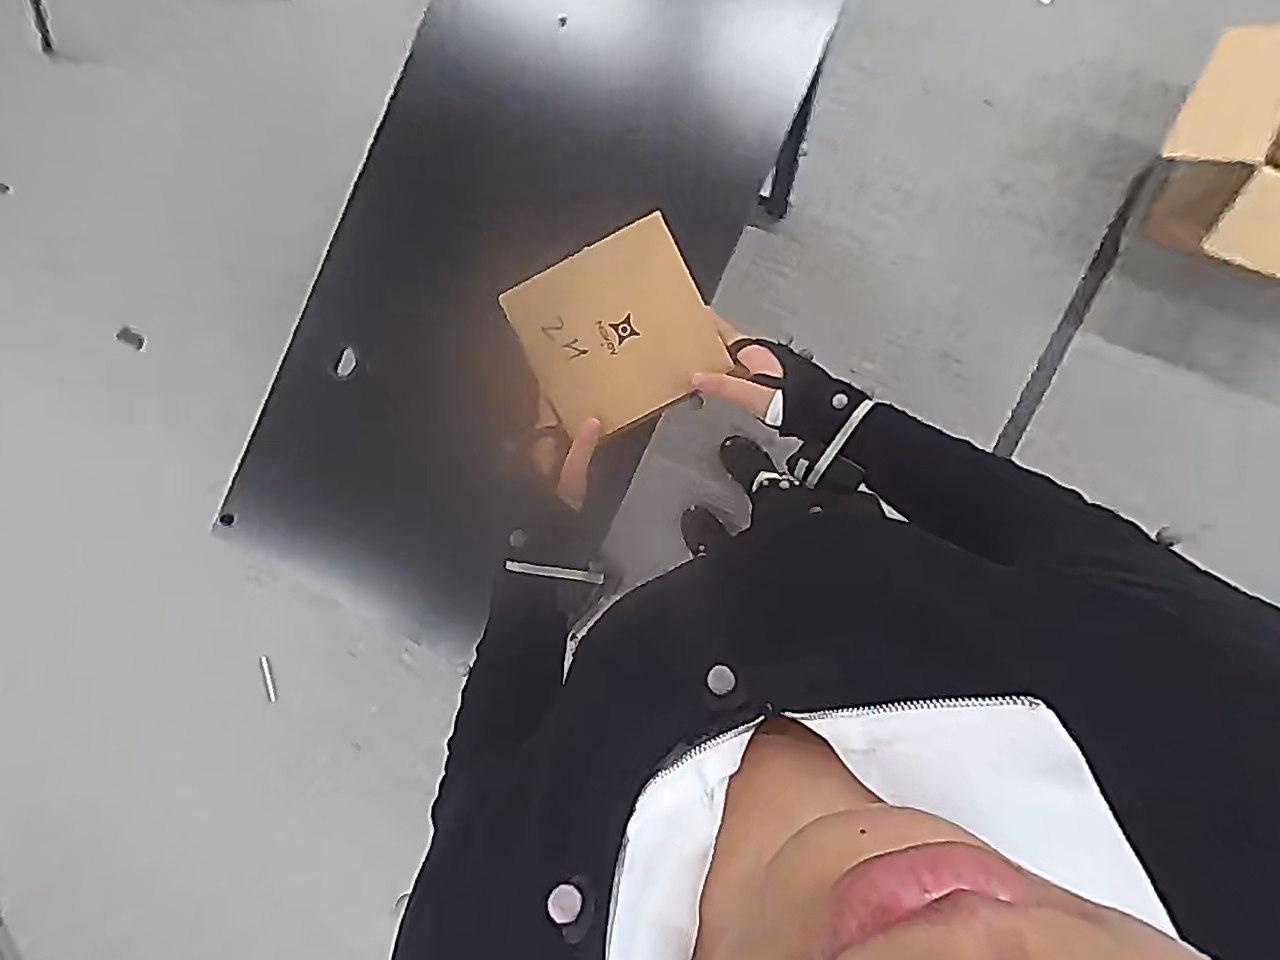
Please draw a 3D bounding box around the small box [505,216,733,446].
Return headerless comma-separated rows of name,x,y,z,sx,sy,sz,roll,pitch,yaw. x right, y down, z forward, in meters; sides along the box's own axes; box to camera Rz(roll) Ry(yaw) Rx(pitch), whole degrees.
small box,-0.019,-0.151,0.599,0.179,0.176,0.168,-26,94,5
